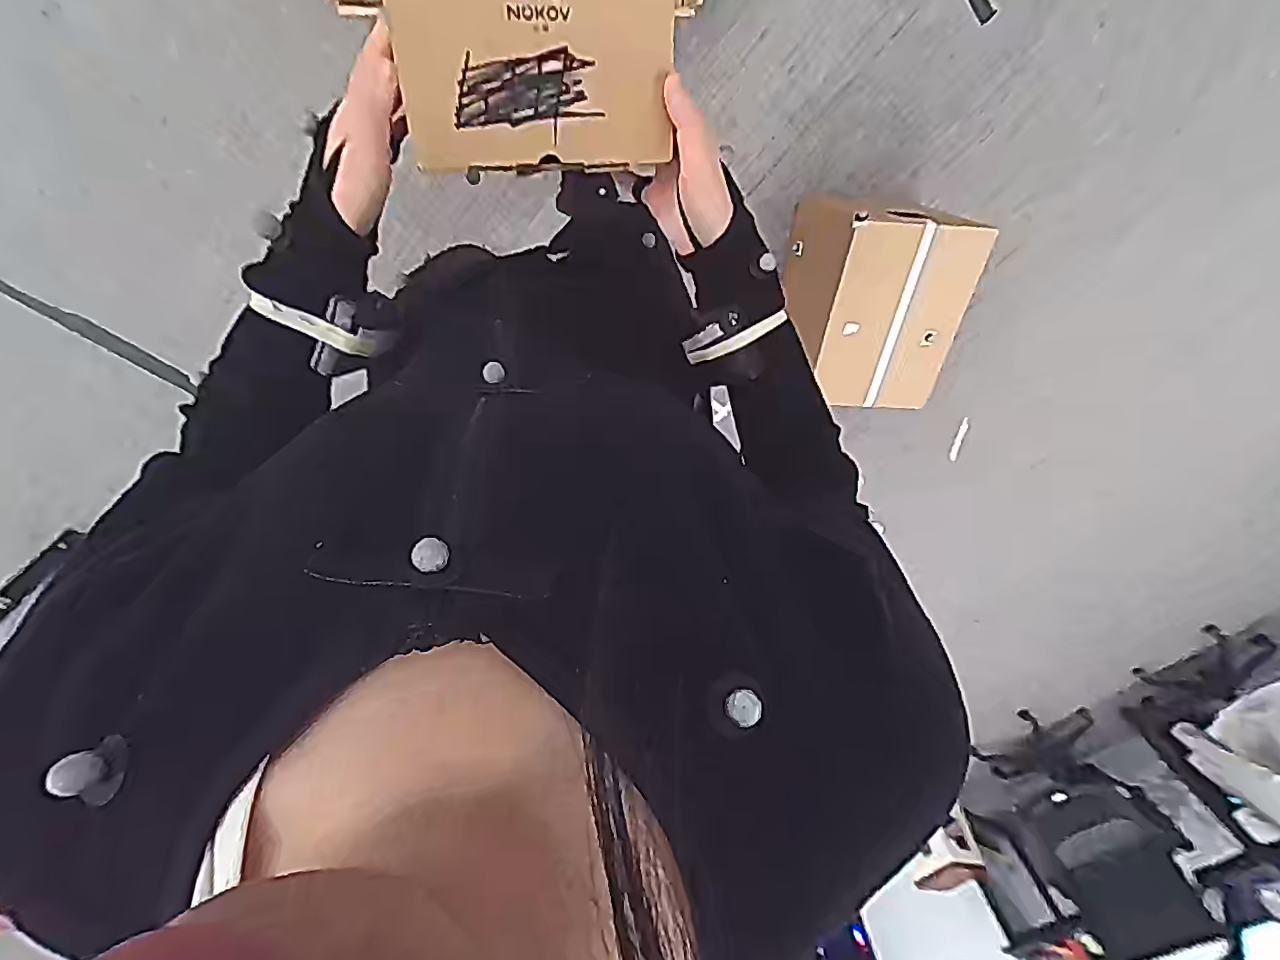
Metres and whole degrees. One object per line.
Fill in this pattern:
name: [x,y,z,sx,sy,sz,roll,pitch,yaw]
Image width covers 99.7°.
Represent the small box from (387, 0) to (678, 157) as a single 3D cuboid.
small box: [-0.076,-0.322,0.362,0.168,0.176,0.179,-9,122,-13]
